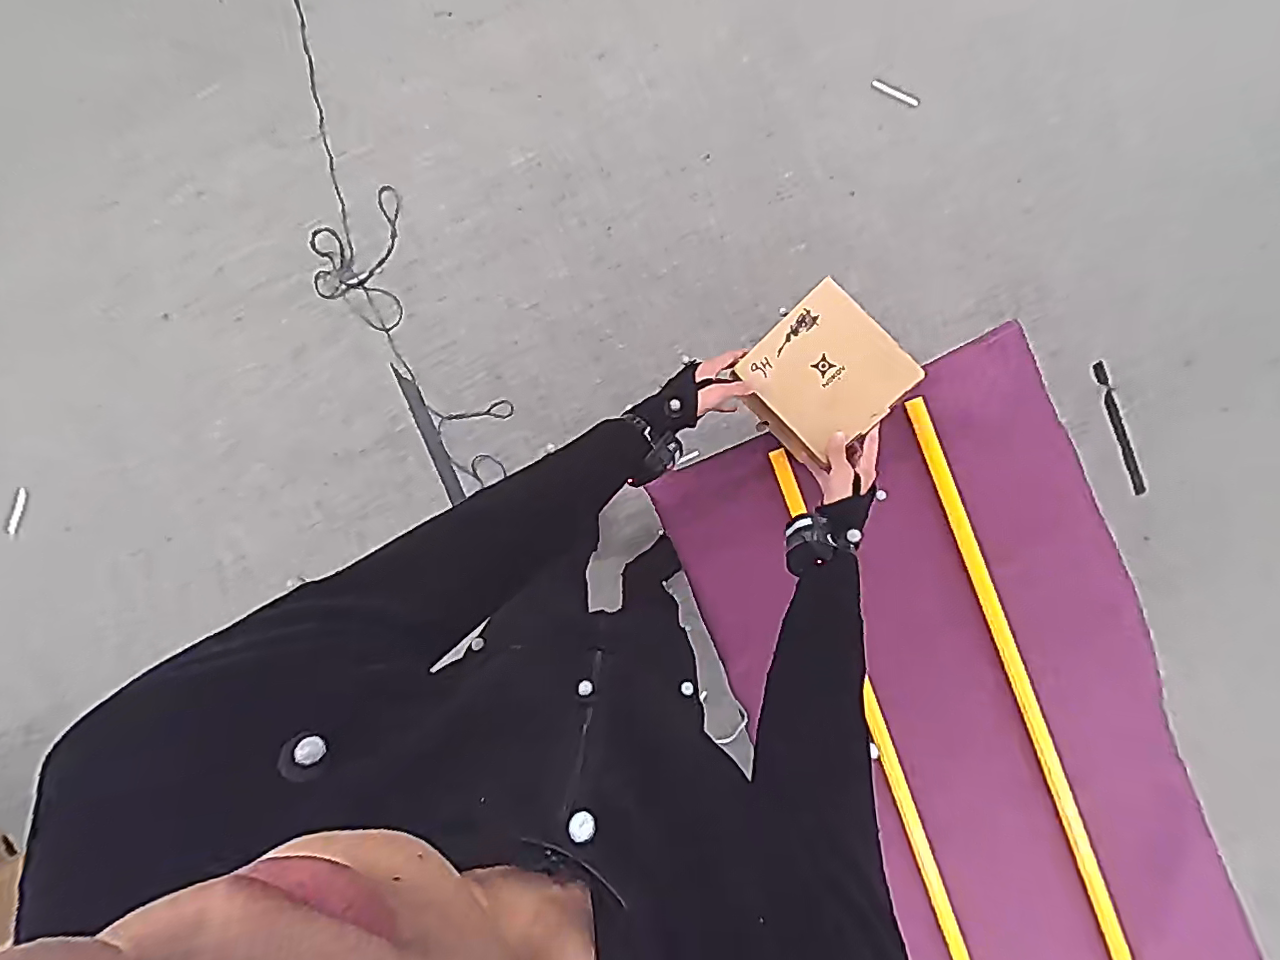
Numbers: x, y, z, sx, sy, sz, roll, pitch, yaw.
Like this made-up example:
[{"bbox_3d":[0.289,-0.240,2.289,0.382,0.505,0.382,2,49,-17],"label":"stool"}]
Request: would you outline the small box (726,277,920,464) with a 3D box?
[{"bbox_3d":[0.238,-0.144,0.753,0.168,0.176,0.179,-44,90,7],"label":"small box"}]
